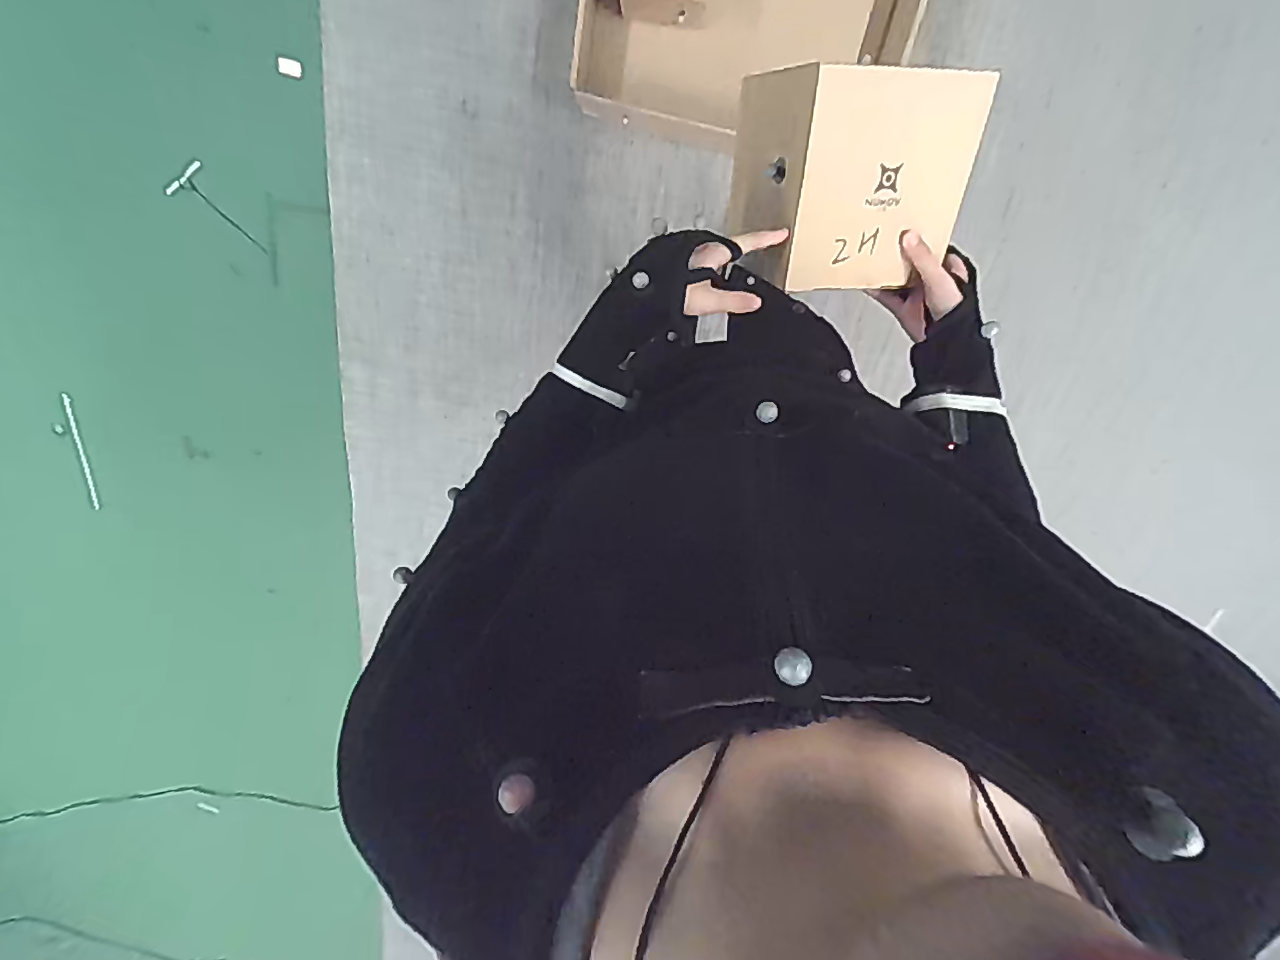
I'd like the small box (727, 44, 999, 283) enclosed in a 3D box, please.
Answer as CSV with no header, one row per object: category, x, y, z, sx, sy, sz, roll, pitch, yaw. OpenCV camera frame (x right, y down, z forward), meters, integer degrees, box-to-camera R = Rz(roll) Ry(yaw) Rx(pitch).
small box,0.196,-0.303,0.535,0.168,0.176,0.179,-4,122,-10

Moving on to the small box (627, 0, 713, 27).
small box,0.065,-0.965,0.985,0.168,0.176,0.179,8,116,-2
